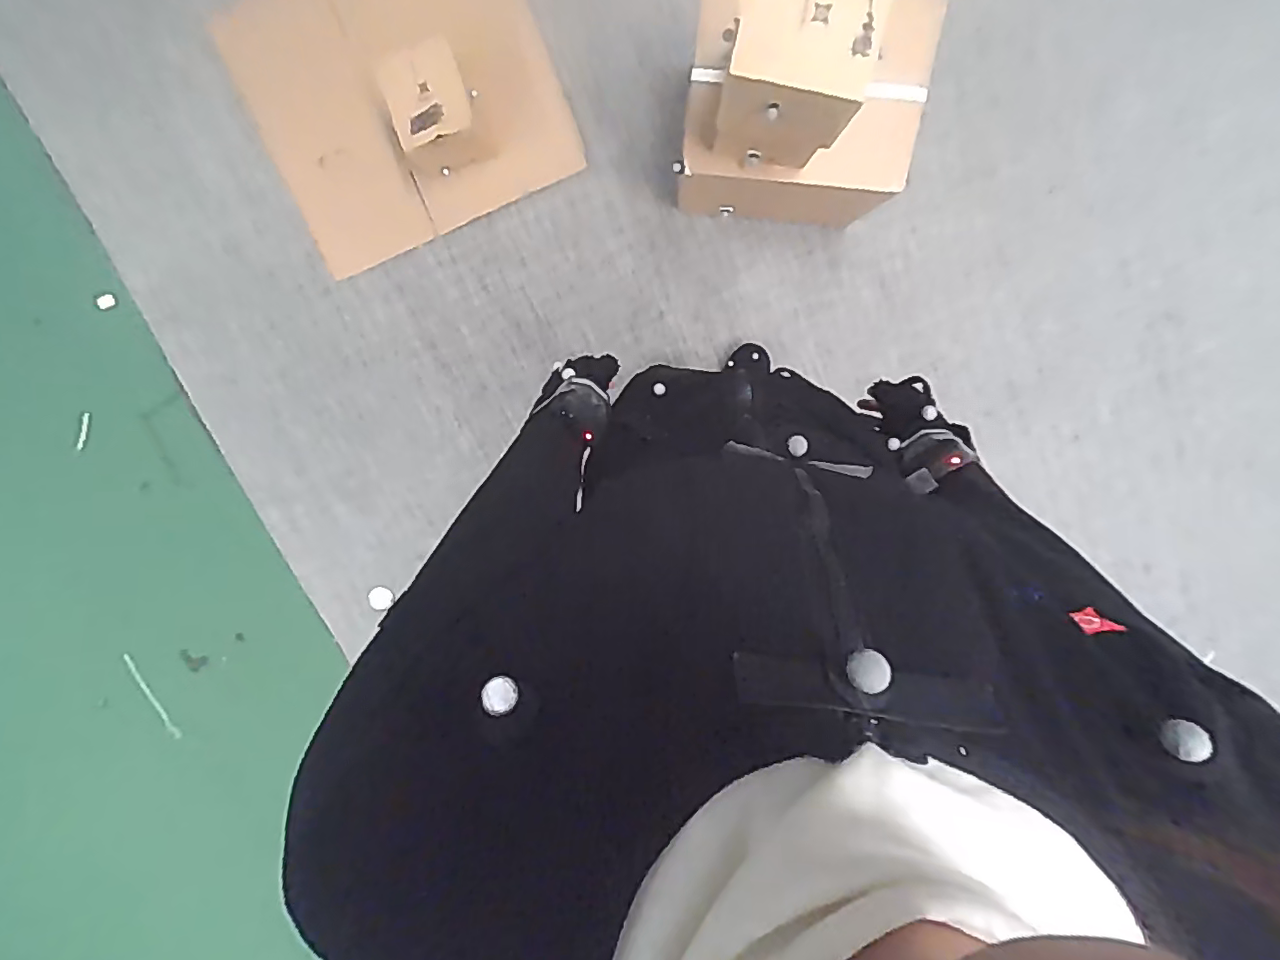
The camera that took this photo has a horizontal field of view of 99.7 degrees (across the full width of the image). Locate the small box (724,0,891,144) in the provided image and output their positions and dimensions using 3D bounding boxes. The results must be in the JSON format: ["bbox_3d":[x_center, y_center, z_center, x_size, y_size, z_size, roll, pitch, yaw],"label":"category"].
[{"bbox_3d":[0.214,-0.577,0.722,0.179,0.176,0.168,10,103,2],"label":"small box"}]

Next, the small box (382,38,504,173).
[{"bbox_3d":[-0.417,-0.797,1.177,0.168,0.176,0.179,-14,101,8],"label":"small box"}]

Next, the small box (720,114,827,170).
[{"bbox_3d":[0.226,-0.631,0.874,0.168,0.176,0.179,9,106,3],"label":"small box"}]
